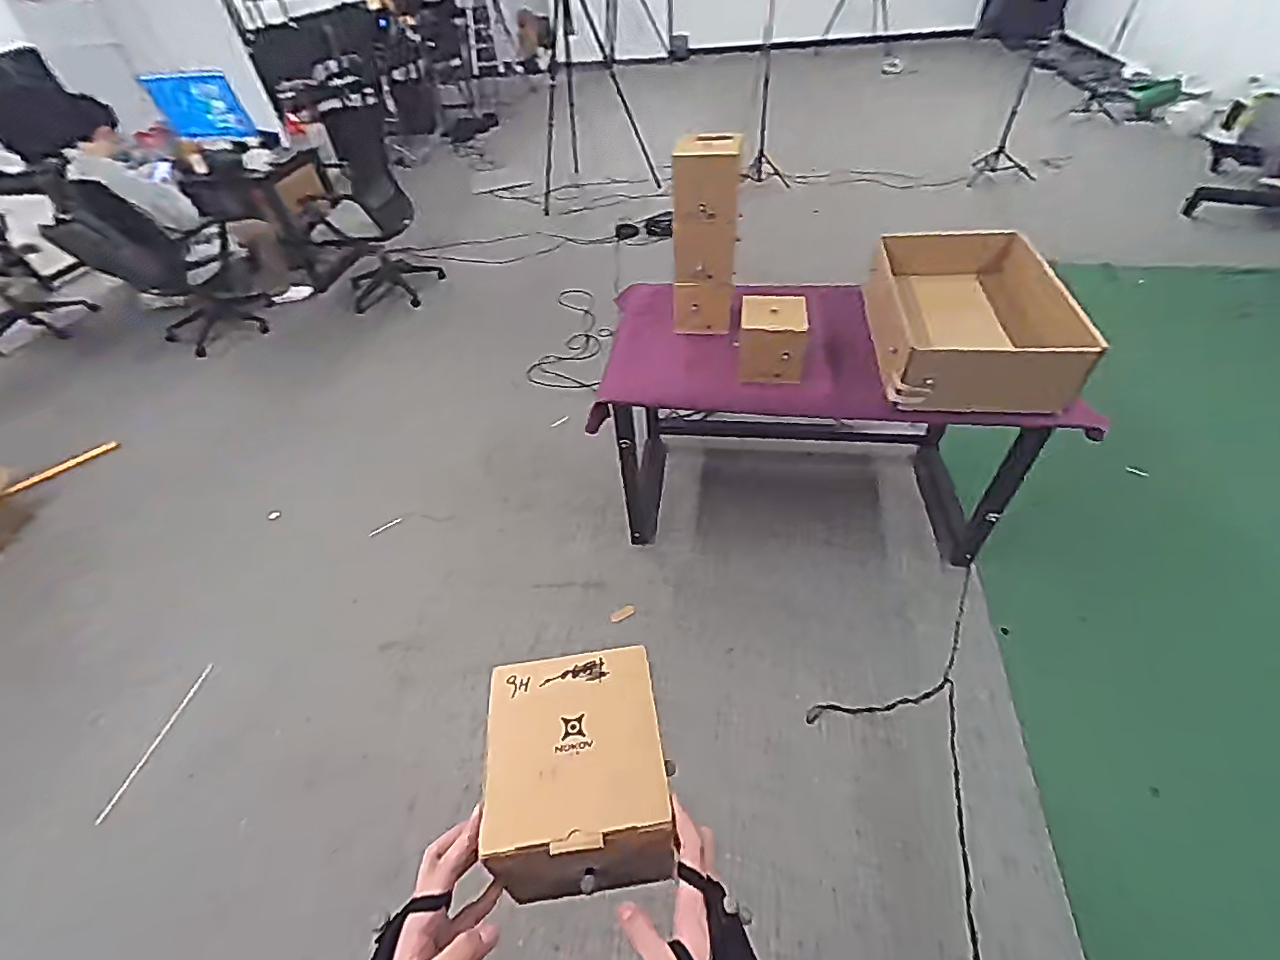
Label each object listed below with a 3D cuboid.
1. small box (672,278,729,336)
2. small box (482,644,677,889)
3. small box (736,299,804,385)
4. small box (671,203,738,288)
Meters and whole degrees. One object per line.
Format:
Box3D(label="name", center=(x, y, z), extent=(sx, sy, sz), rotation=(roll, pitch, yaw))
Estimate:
Box3D(label="small box", center=(0.190, -0.556, 1.664), extent=(0.168, 0.176, 0.179), rotation=(2, 46, 8))
Box3D(label="small box", center=(-0.055, 0.300, 0.564), extent=(0.168, 0.176, 0.179), rotation=(-6, 42, -3))
Box3D(label="small box", center=(0.350, -0.374, 1.470), extent=(0.168, 0.176, 0.179), rotation=(4, 45, 9))
Box3D(label="small box", center=(0.185, -0.672, 1.547), extent=(0.168, 0.176, 0.179), rotation=(5, 48, 11))
